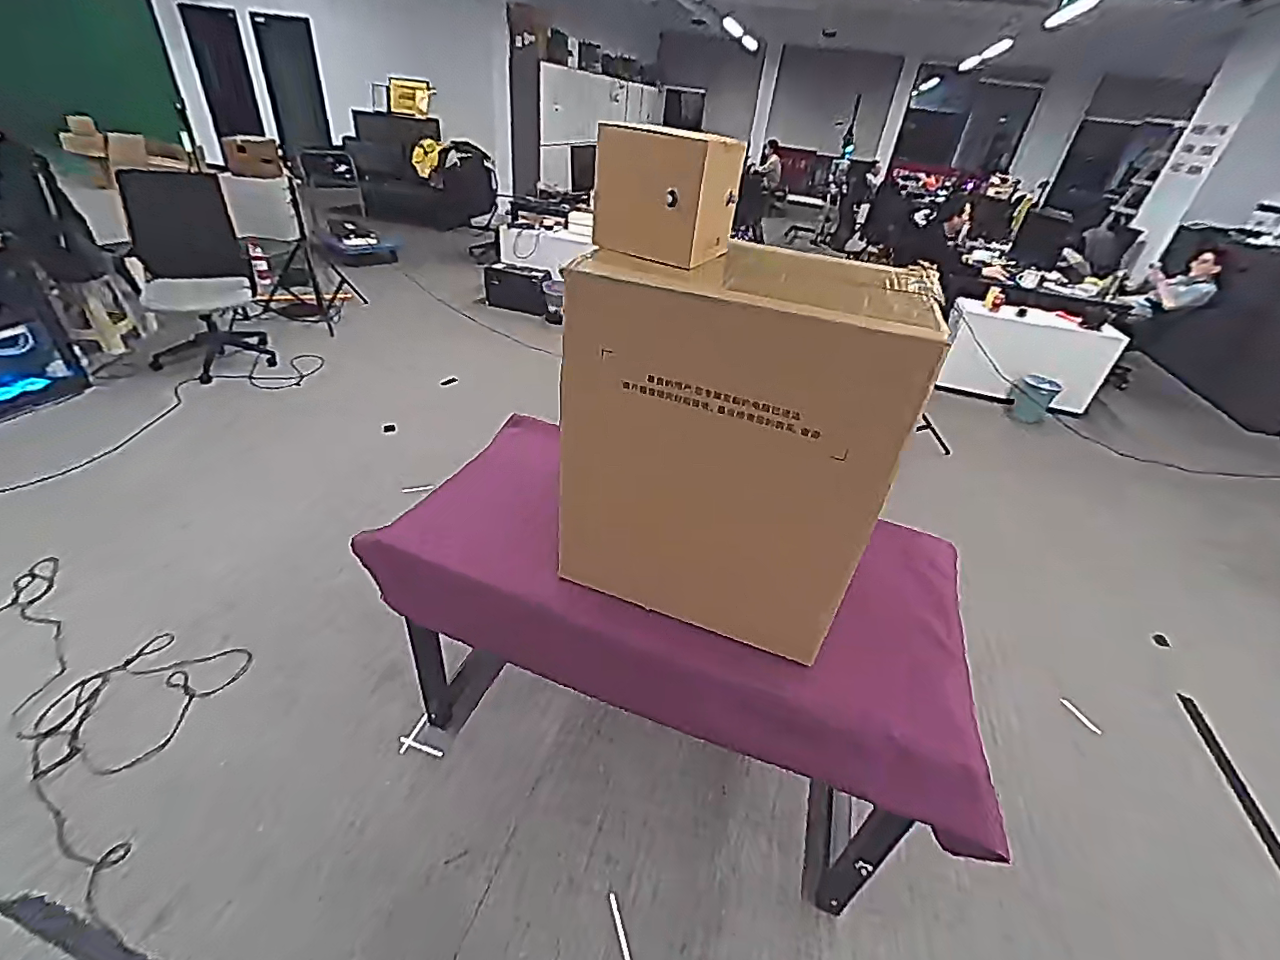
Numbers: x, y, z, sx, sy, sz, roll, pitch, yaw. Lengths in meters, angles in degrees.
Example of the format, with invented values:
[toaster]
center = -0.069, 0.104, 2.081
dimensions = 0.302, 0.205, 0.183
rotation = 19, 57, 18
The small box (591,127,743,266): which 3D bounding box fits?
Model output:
[small box]
center = 0.039, -0.442, 0.845
dimensions = 0.179, 0.176, 0.168
rotation = 21, 36, 19
